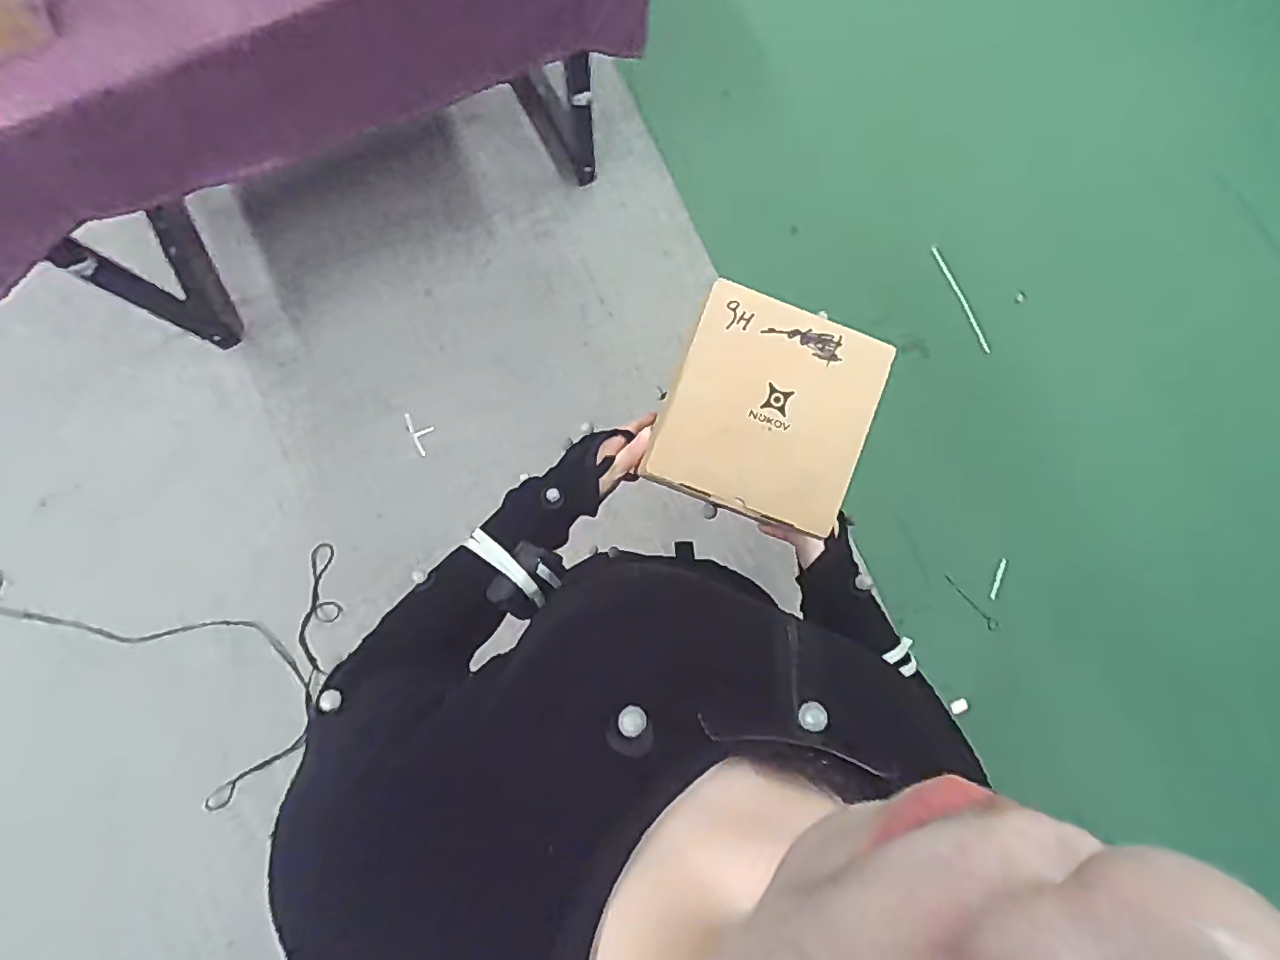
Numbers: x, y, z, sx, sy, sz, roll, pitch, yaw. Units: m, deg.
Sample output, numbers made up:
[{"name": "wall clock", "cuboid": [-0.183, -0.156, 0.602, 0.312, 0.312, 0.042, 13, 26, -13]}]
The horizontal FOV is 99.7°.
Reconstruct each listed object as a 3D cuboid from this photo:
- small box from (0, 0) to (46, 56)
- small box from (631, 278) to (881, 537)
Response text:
[{"name": "small box", "cuboid": [-0.989, -0.717, 0.740, 0.179, 0.176, 0.168, -26, 85, -6]}, {"name": "small box", "cuboid": [0.095, -0.061, 0.530, 0.168, 0.176, 0.179, 20, 90, -4]}]
